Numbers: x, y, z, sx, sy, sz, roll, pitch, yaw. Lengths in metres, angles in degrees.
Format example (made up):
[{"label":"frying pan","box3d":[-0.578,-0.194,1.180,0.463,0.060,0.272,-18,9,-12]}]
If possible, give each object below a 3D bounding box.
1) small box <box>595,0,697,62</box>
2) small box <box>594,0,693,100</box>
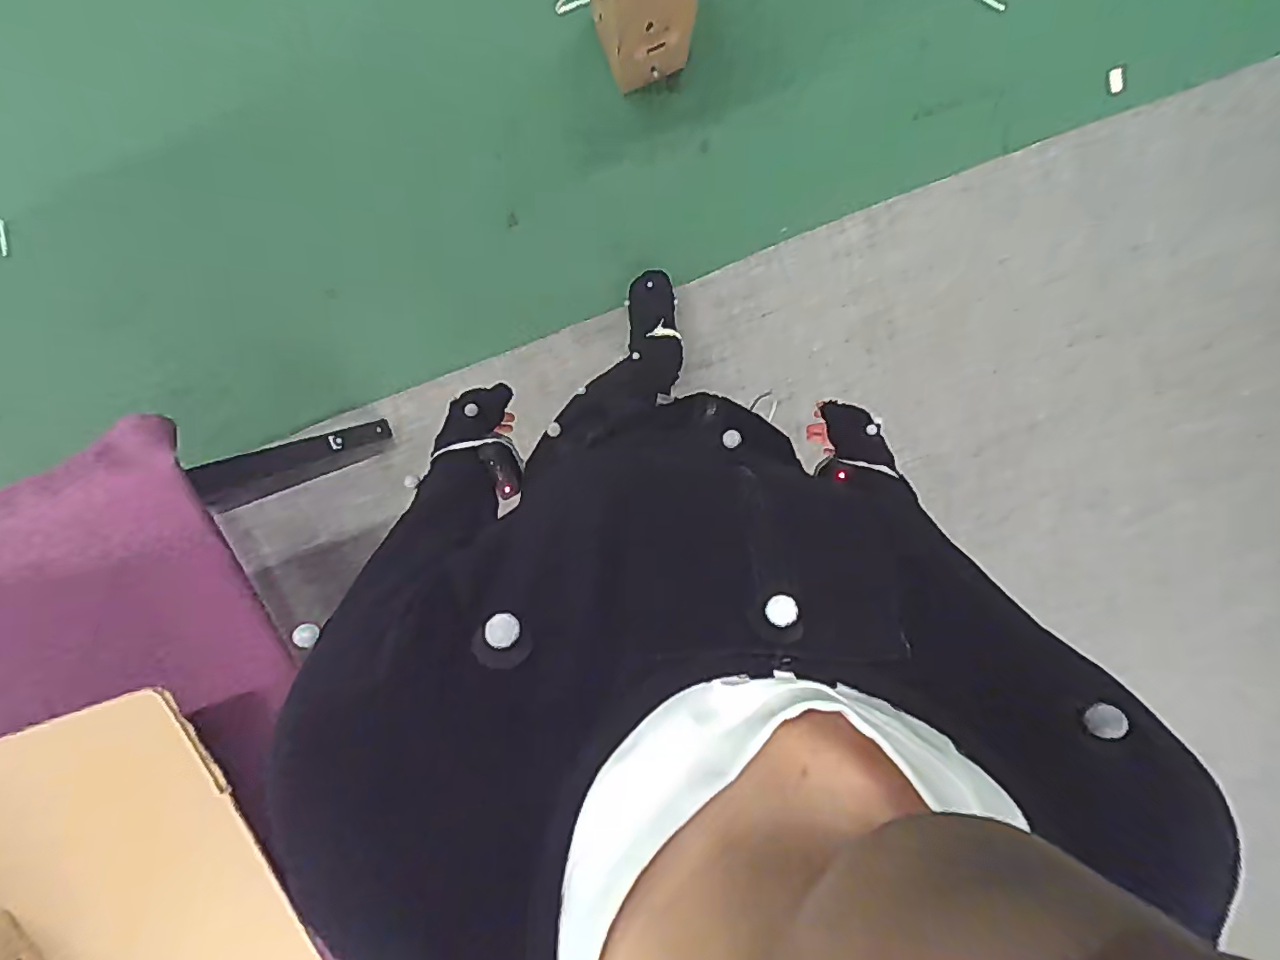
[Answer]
[{"label":"small box","box3d":[0.001,-0.946,1.013,0.168,0.176,0.179,-23,102,4]},{"label":"small box","box3d":[0.003,-0.980,1.172,0.168,0.176,0.179,-21,101,5]}]
